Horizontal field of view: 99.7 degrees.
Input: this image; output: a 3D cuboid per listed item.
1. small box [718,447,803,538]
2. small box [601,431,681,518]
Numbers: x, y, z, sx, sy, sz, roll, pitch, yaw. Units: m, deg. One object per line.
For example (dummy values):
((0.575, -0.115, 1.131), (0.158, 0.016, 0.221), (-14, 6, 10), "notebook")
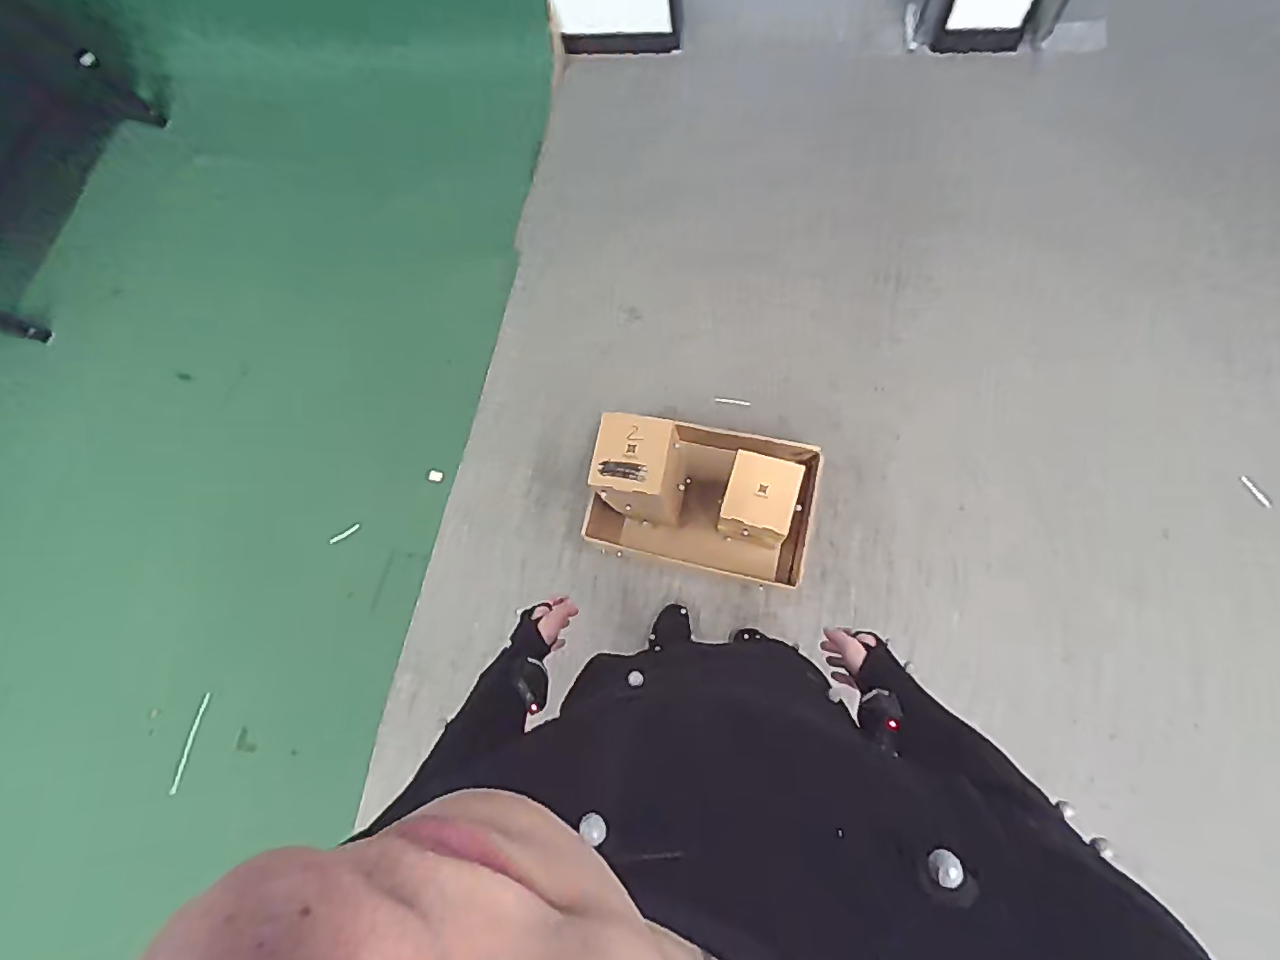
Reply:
((0.300, 0.038, 1.374), (0.168, 0.176, 0.179), (16, 81, 12), "small box")
((0.010, -0.011, 1.431), (0.168, 0.176, 0.179), (9, 78, 12), "small box")
